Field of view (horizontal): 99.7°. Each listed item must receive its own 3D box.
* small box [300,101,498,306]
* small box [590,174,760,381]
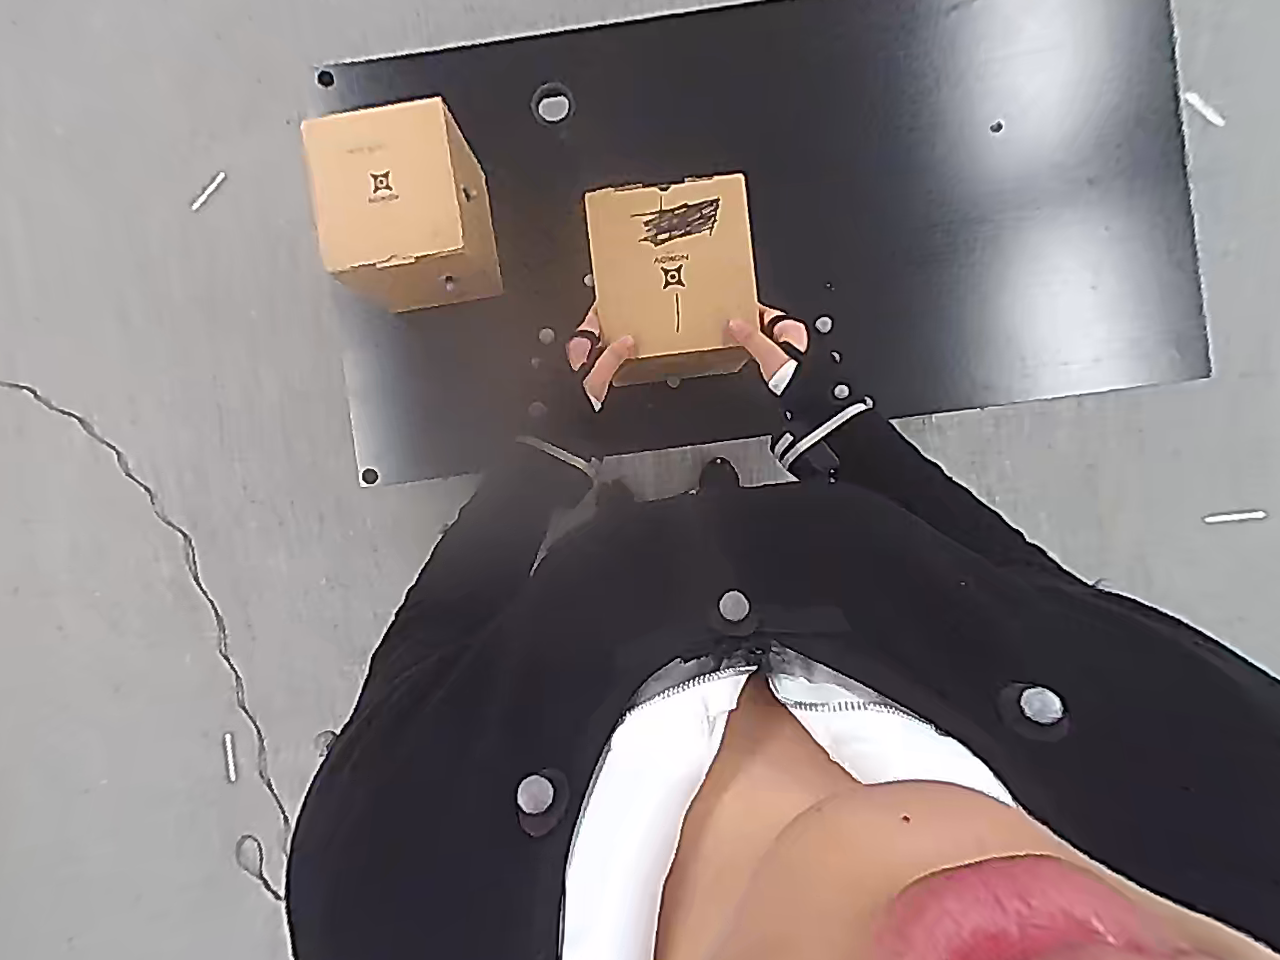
[{"bbox_3d":[-0.294,-0.337,0.698,0.168,0.176,0.179,-10,91,0],"label":"small box"},{"bbox_3d":[0.036,-0.221,0.633,0.168,0.176,0.179,-6,92,1],"label":"small box"}]
